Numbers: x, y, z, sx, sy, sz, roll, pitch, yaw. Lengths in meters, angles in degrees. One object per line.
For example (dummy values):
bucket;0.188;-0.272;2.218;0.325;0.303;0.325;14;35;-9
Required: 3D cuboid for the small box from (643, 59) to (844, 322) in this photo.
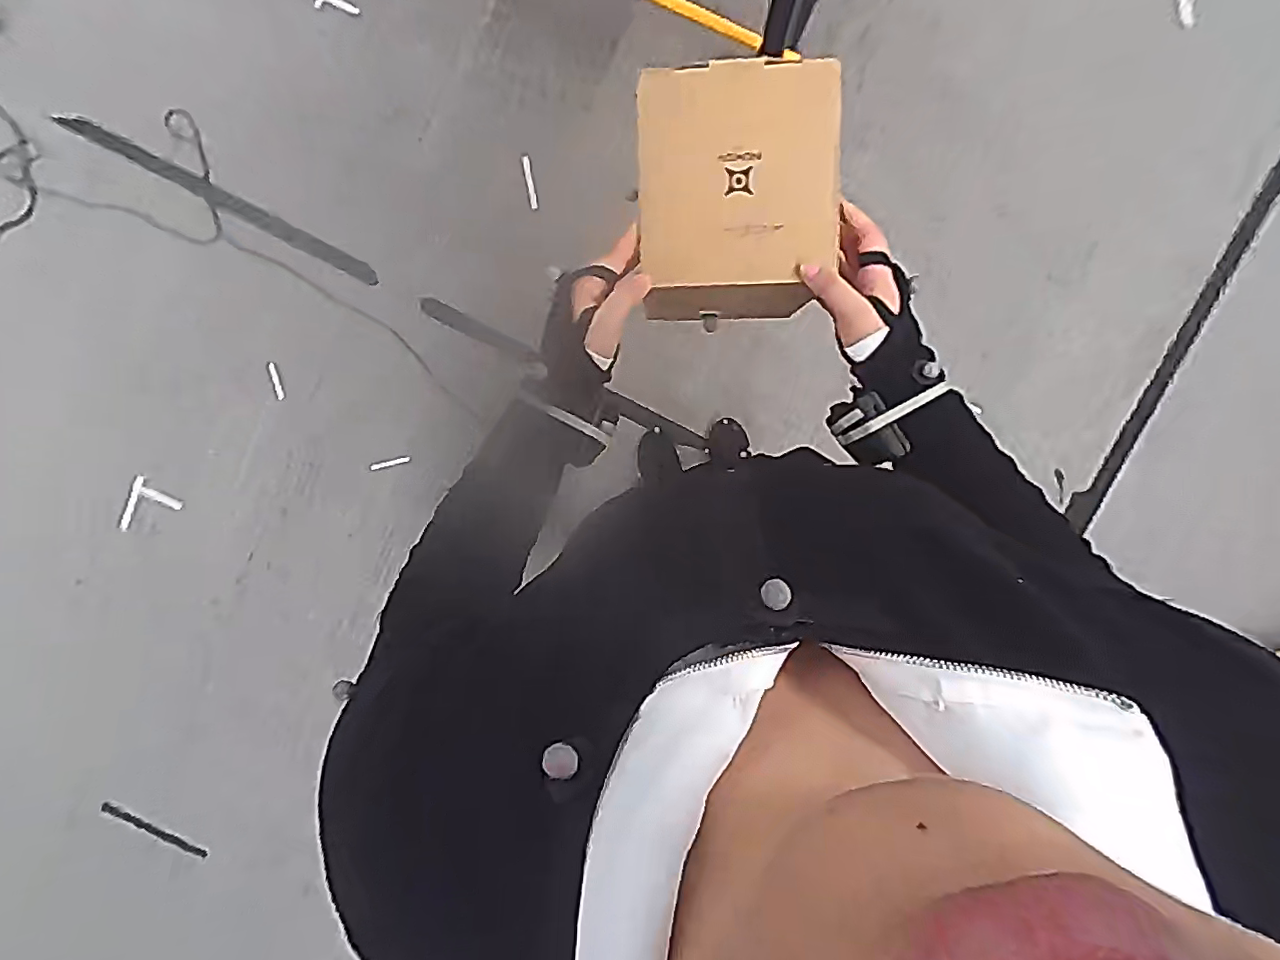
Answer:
small box;0.086;-0.259;0.523;0.168;0.176;0.179;-1;97;3
